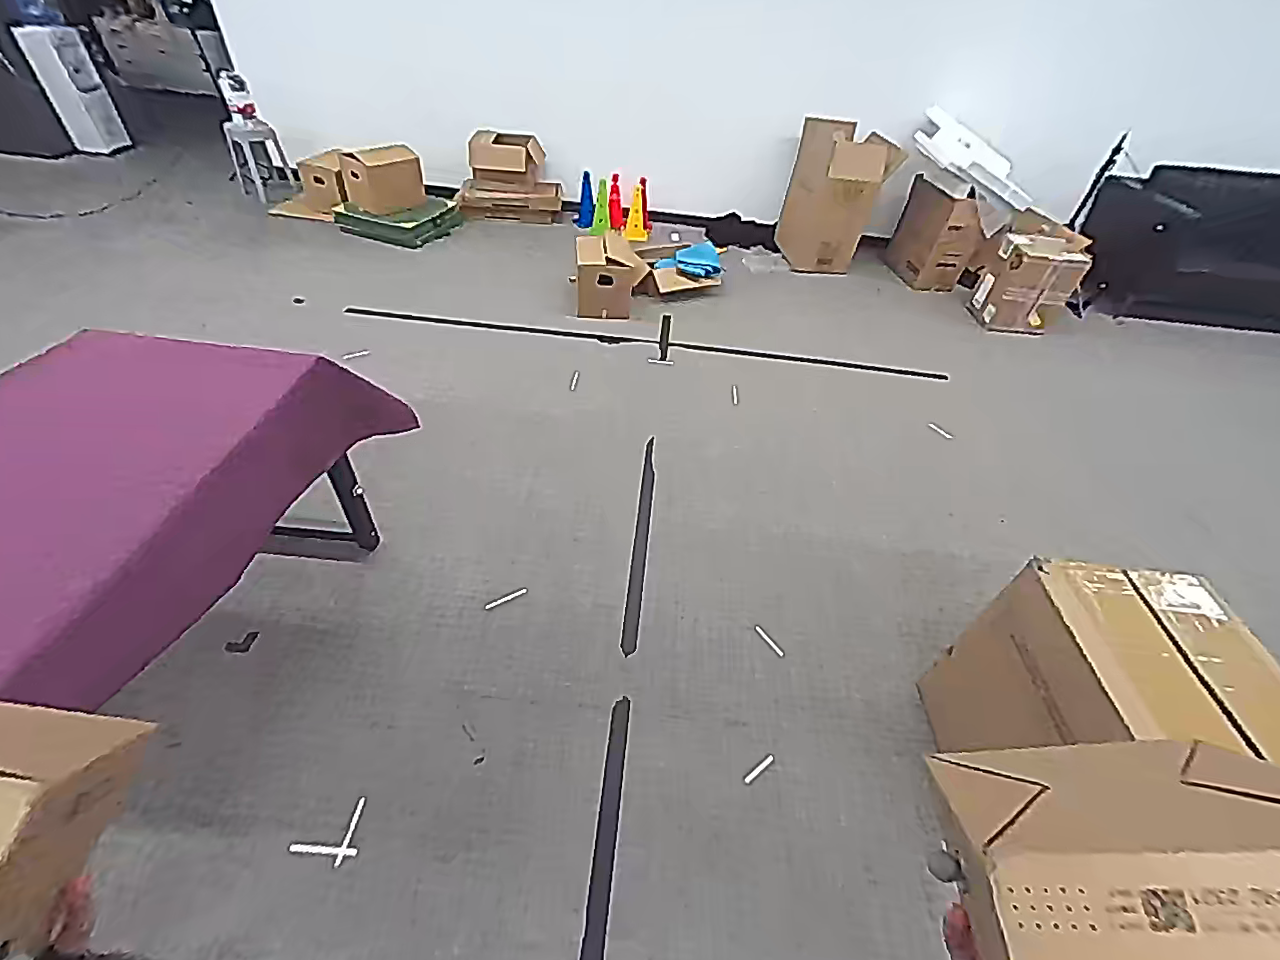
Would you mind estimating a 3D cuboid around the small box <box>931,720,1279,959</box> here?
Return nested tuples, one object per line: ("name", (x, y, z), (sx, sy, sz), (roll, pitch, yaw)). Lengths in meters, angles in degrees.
("small box", (0.261, 0.227, 0.266), (0.168, 0.179, 0.176), (-14, 74, 17))
